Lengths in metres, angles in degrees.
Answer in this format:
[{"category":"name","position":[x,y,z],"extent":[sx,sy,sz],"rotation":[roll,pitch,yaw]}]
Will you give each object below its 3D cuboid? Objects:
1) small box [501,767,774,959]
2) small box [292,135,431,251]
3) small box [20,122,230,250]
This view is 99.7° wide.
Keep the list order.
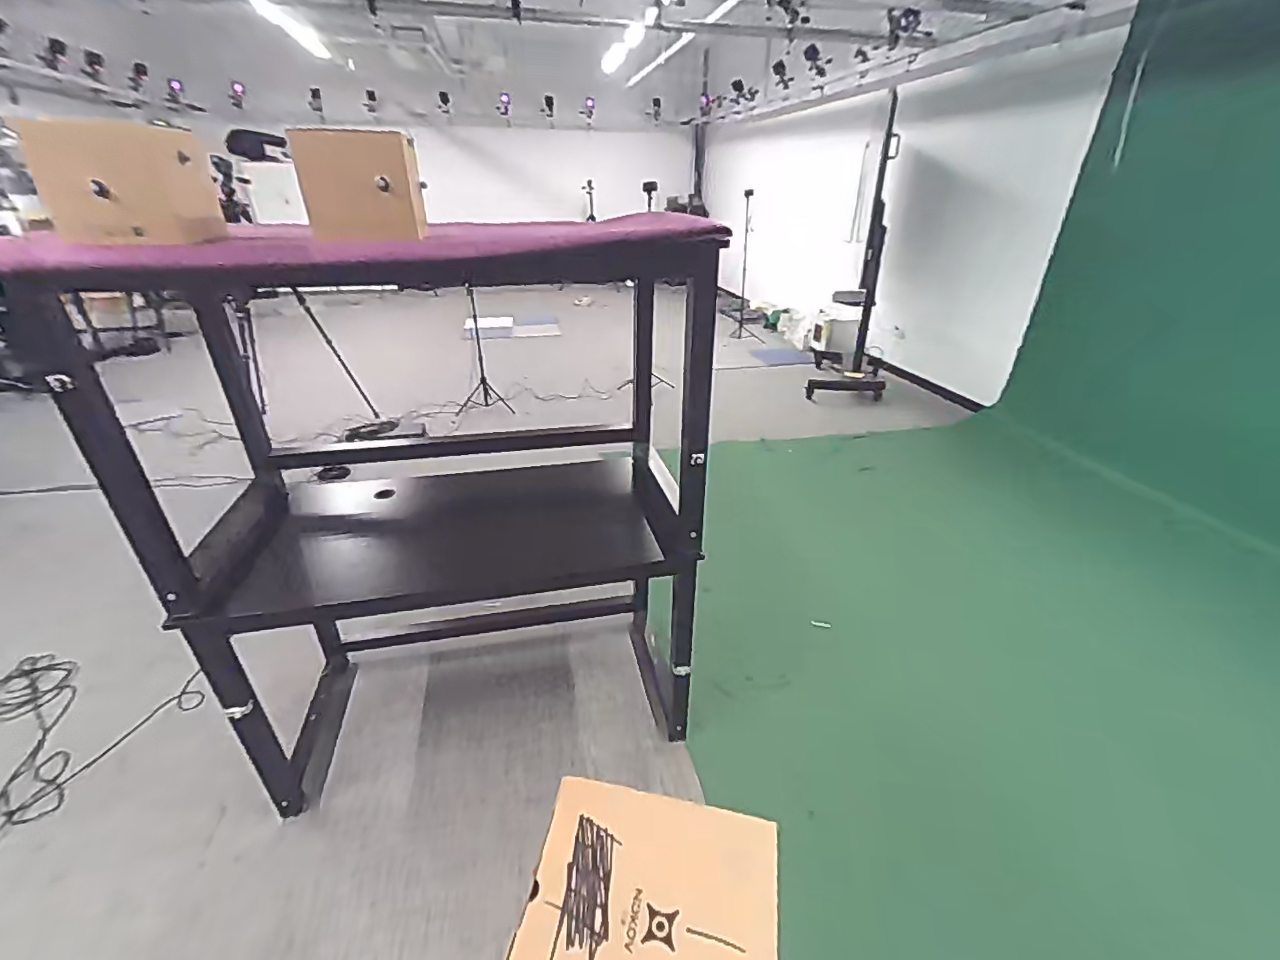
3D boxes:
[{"category":"small box","position":[0.002,0.363,0.422],"extent":[0.179,0.176,0.168],"rotation":[9,36,8]},{"category":"small box","position":[-0.486,-0.516,0.979],"extent":[0.179,0.176,0.168],"rotation":[-7,28,-12]},{"category":"small box","position":[-0.812,-0.473,0.882],"extent":[0.168,0.176,0.179],"rotation":[-6,29,-14]}]
